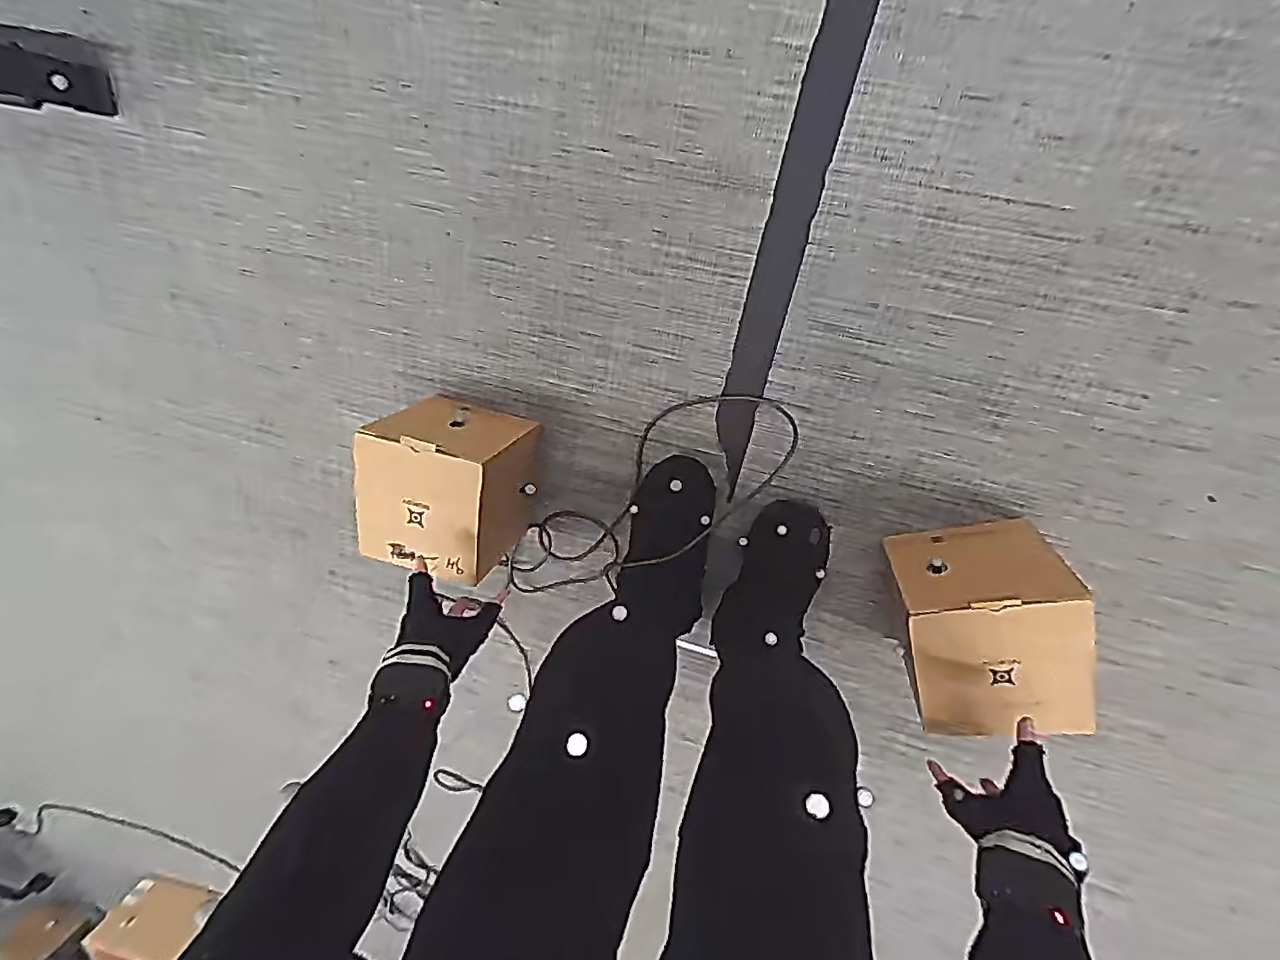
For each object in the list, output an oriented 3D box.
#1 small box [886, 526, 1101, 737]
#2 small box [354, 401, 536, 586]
[{"bbox_3d":[0.396,0.166,0.629,0.168,0.176,0.179,-11,110,20],"label":"small box"},{"bbox_3d":[-0.250,0.006,0.718,0.168,0.176,0.179,15,113,8],"label":"small box"}]
